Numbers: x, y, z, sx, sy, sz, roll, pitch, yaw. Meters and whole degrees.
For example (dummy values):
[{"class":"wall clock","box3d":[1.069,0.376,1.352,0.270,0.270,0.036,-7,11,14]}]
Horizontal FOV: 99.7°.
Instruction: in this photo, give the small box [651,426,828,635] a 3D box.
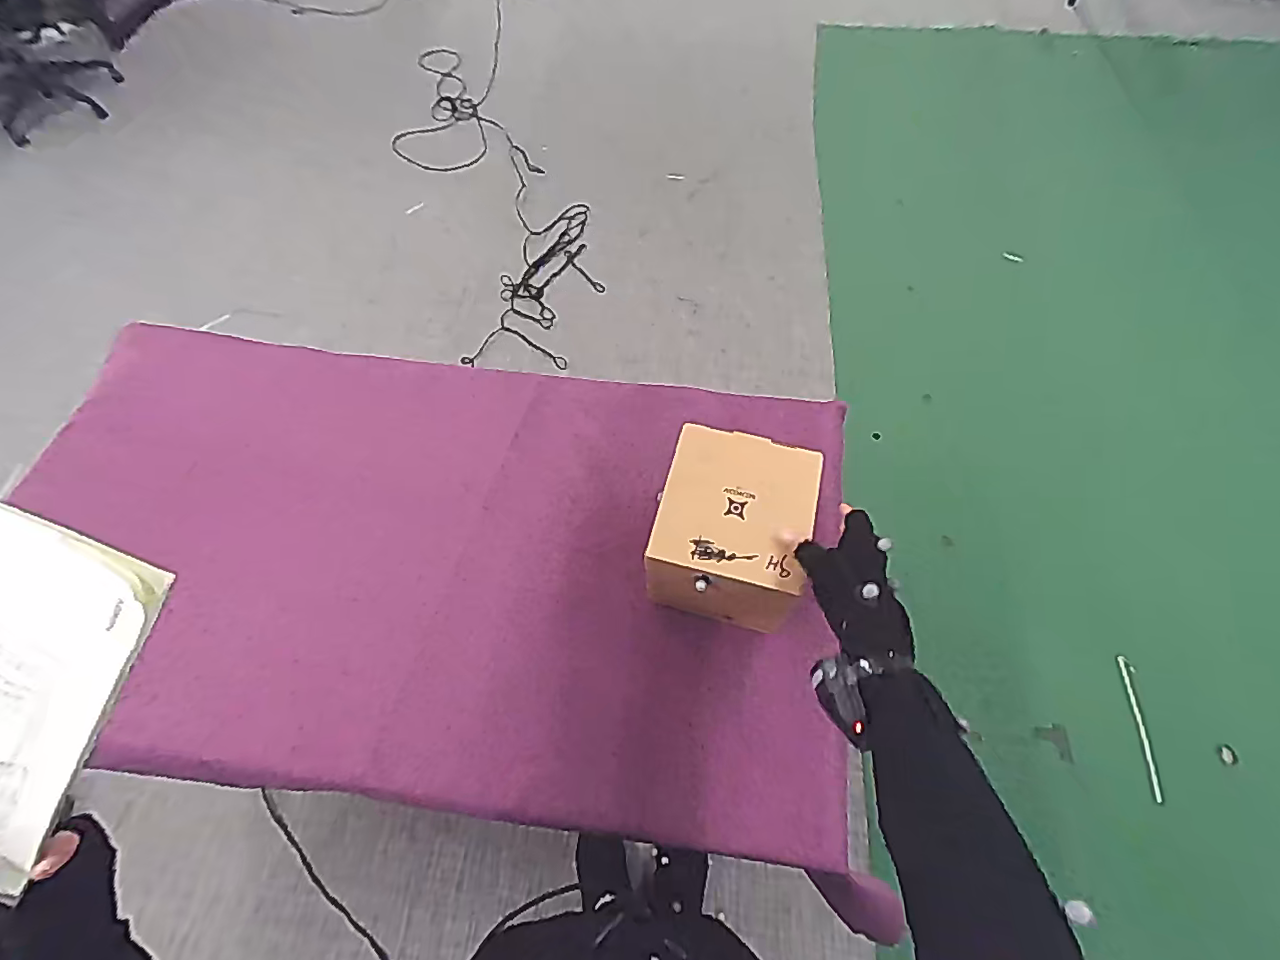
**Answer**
[{"class":"small box","box3d":[0.112,0.066,0.653,0.168,0.176,0.179,14,62,9]}]
